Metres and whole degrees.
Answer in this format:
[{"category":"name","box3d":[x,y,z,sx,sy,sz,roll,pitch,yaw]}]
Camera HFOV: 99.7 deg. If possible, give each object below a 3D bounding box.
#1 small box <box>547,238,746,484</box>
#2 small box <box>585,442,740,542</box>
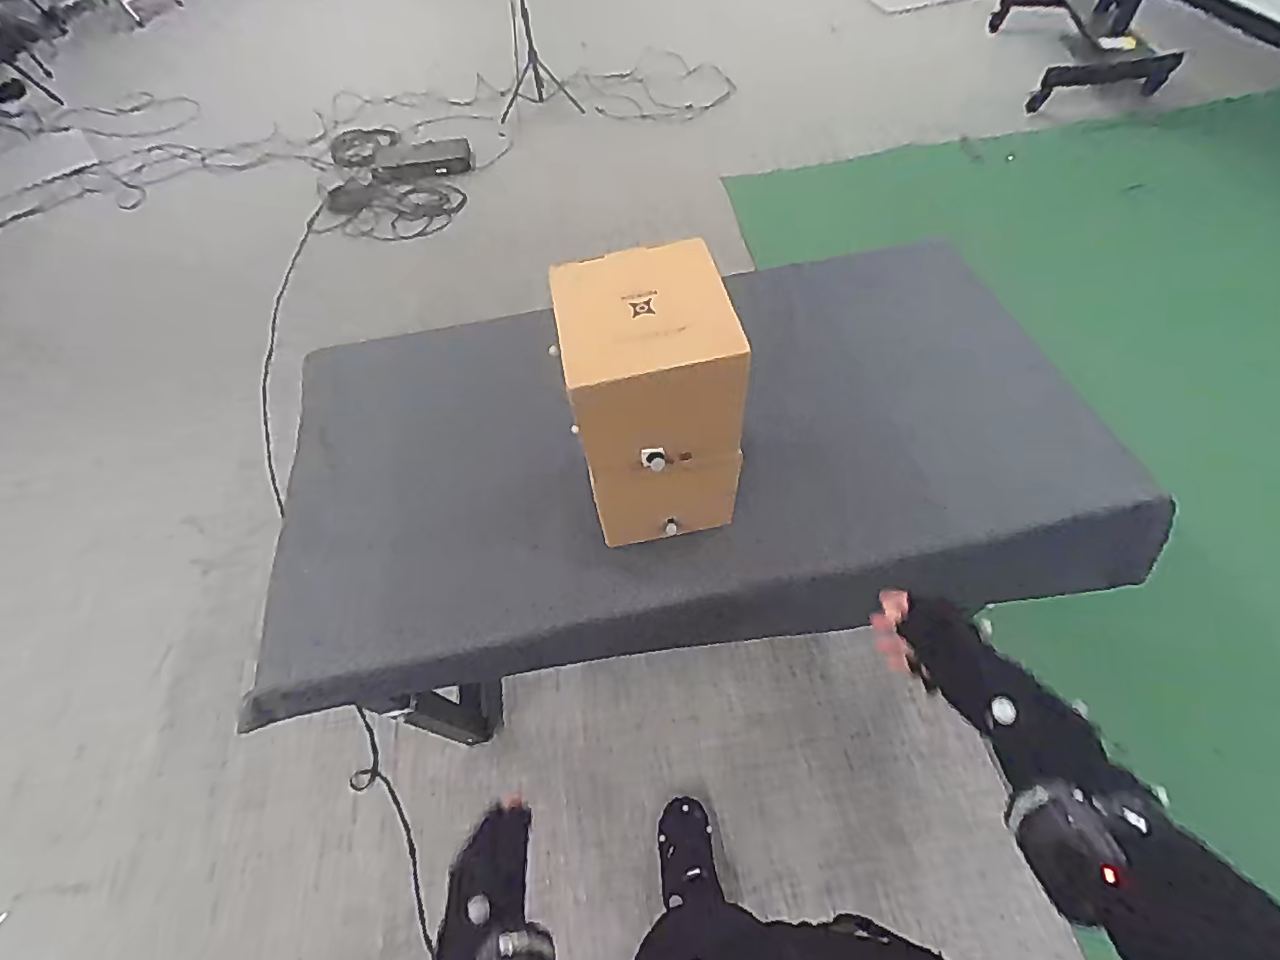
[{"category":"small box","box3d":[0.005,-0.121,0.580,0.168,0.176,0.179,-13,59,0]},{"category":"small box","box3d":[0.019,-0.036,0.717,0.179,0.176,0.168,-11,57,-2]}]
